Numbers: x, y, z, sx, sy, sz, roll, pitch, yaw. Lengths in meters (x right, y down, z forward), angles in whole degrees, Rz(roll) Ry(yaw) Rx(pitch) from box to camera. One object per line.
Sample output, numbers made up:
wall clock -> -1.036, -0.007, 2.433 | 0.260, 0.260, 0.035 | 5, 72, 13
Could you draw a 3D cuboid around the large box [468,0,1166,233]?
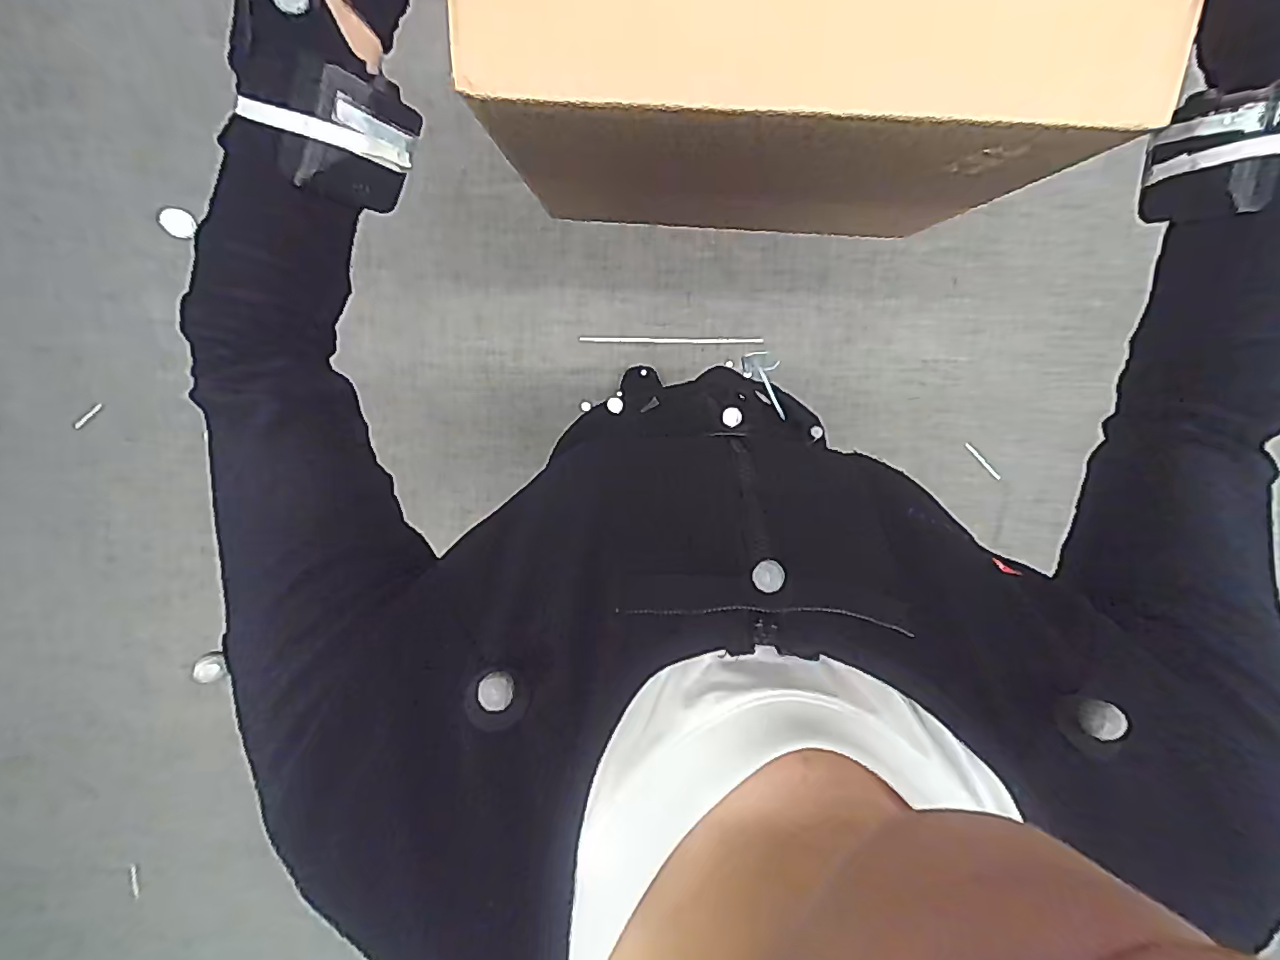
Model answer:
large box -> 0.102, -0.397, 0.431 | 0.408, 0.320, 0.320 | 2, 104, 0
